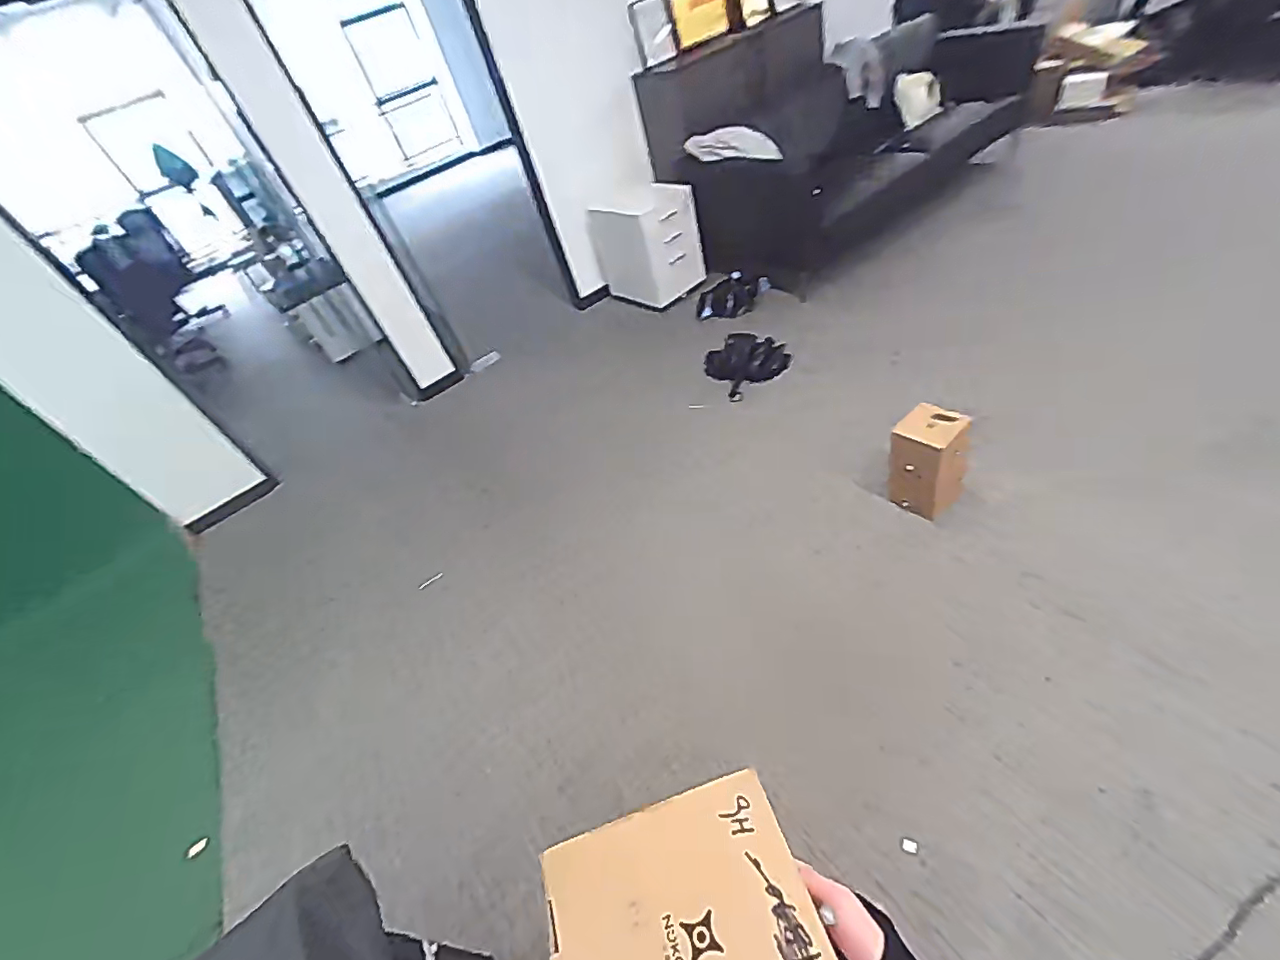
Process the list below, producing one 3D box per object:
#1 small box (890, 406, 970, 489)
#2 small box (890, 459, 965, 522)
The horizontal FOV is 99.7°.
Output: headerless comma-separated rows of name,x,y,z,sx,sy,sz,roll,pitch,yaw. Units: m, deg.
small box,0.924,-0.105,1.741,0.179,0.176,0.168,-38,43,-19
small box,0.974,0.009,1.849,0.179,0.176,0.168,-39,43,-19
